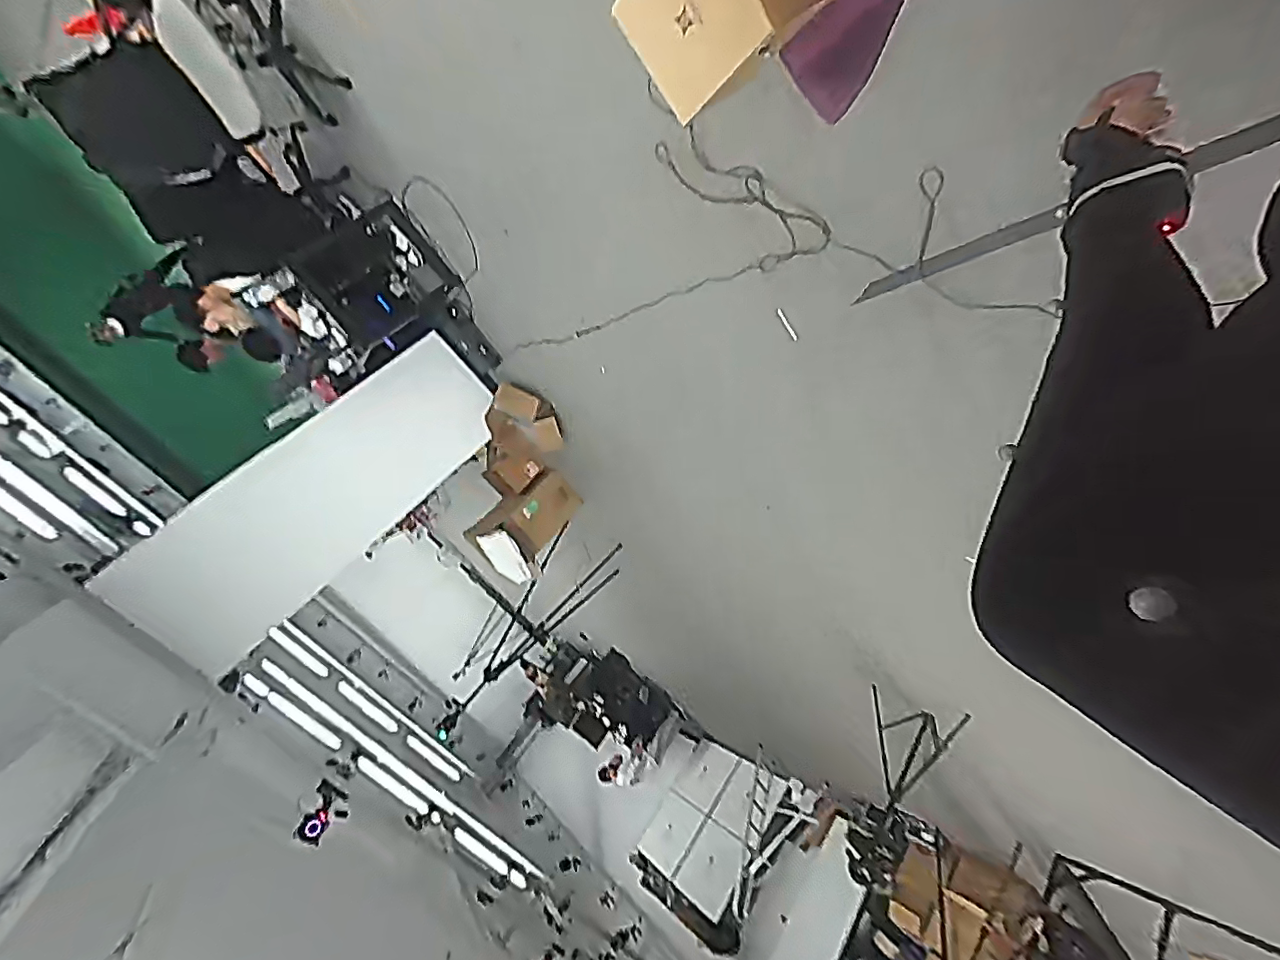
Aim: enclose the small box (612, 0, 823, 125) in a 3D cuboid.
[{"bbox_3d":[0.103,-0.608,0.686,0.168,0.176,0.179,50,152,-17],"label":"small box"}]
